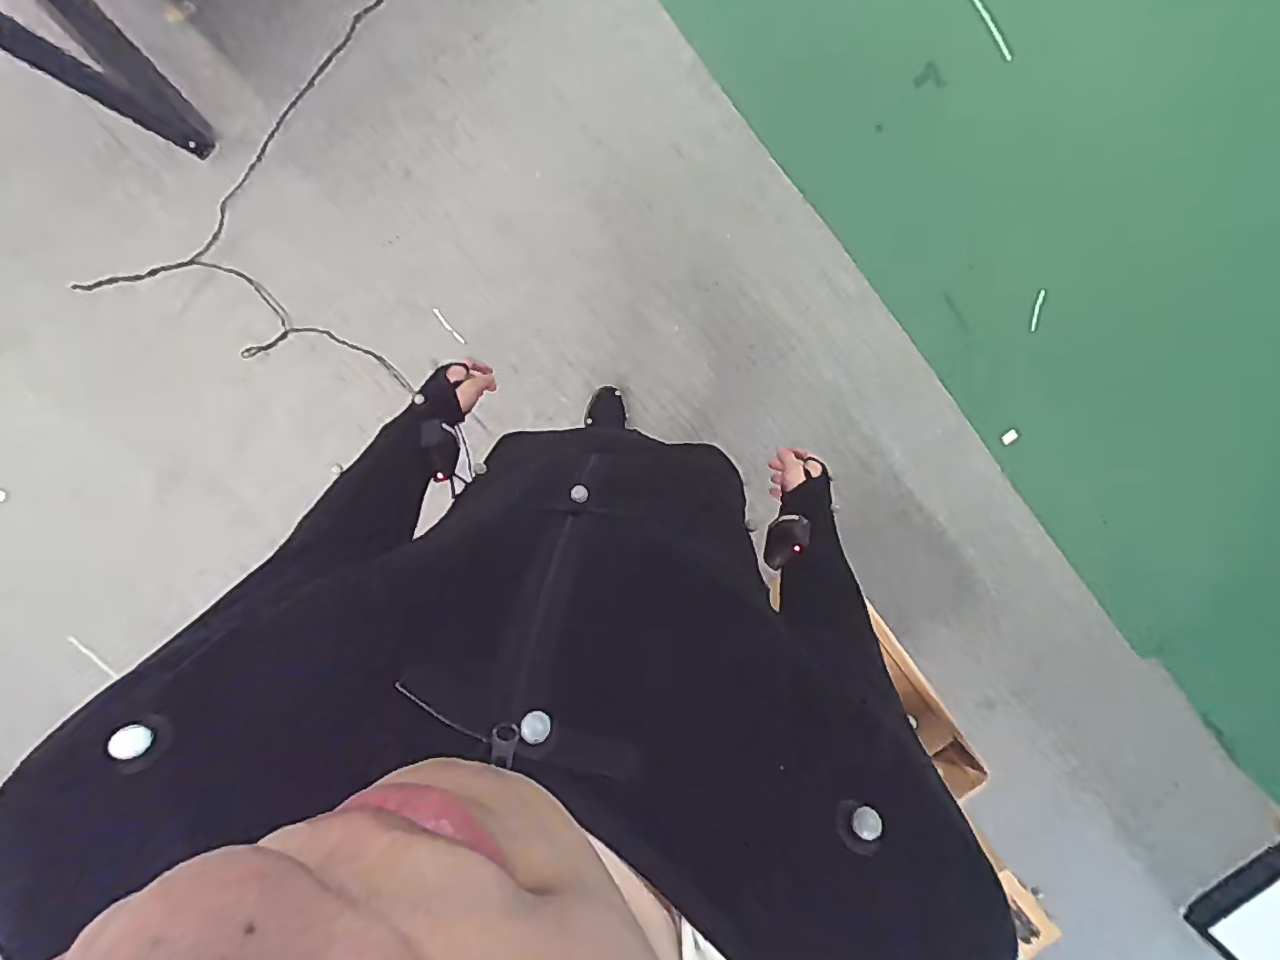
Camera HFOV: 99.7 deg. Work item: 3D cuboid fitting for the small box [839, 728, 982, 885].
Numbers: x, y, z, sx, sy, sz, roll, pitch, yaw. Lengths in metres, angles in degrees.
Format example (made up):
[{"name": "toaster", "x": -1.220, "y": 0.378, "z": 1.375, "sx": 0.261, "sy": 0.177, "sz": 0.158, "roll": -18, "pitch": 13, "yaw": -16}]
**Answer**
[{"name": "small box", "x": 0.534, "y": 0.656, "z": 1.104, "sx": 0.179, "sy": 0.176, "sz": 0.168, "roll": -39, "pitch": 99, "yaw": 4}]
